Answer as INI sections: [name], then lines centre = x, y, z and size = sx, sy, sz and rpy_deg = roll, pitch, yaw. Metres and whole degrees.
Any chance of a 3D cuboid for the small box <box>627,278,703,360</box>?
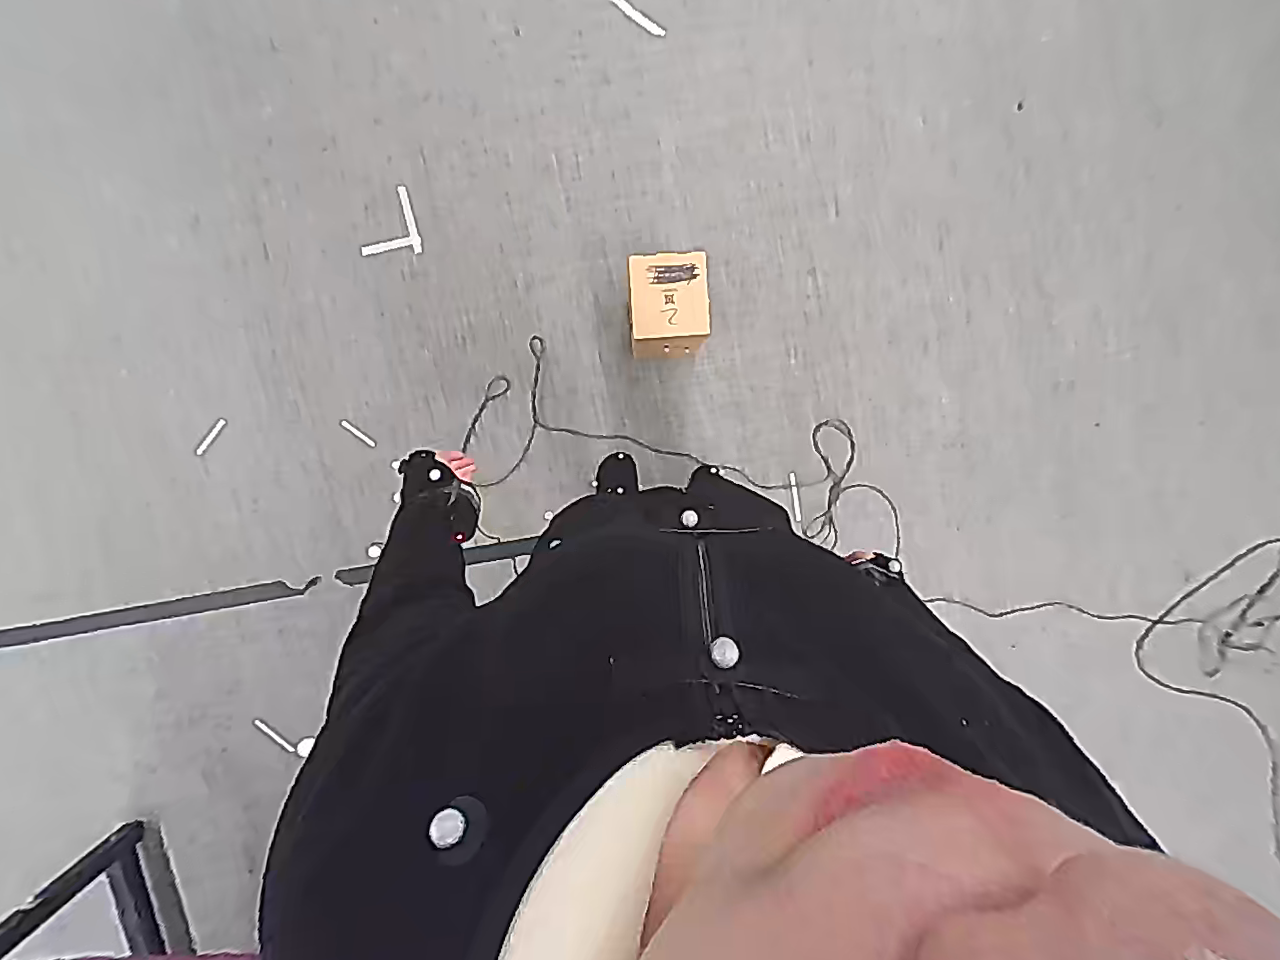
[small box]
centre = 0.061, -0.407, 1.389
size = 0.179, 0.176, 0.168
rpy_deg = -5, 94, -1
